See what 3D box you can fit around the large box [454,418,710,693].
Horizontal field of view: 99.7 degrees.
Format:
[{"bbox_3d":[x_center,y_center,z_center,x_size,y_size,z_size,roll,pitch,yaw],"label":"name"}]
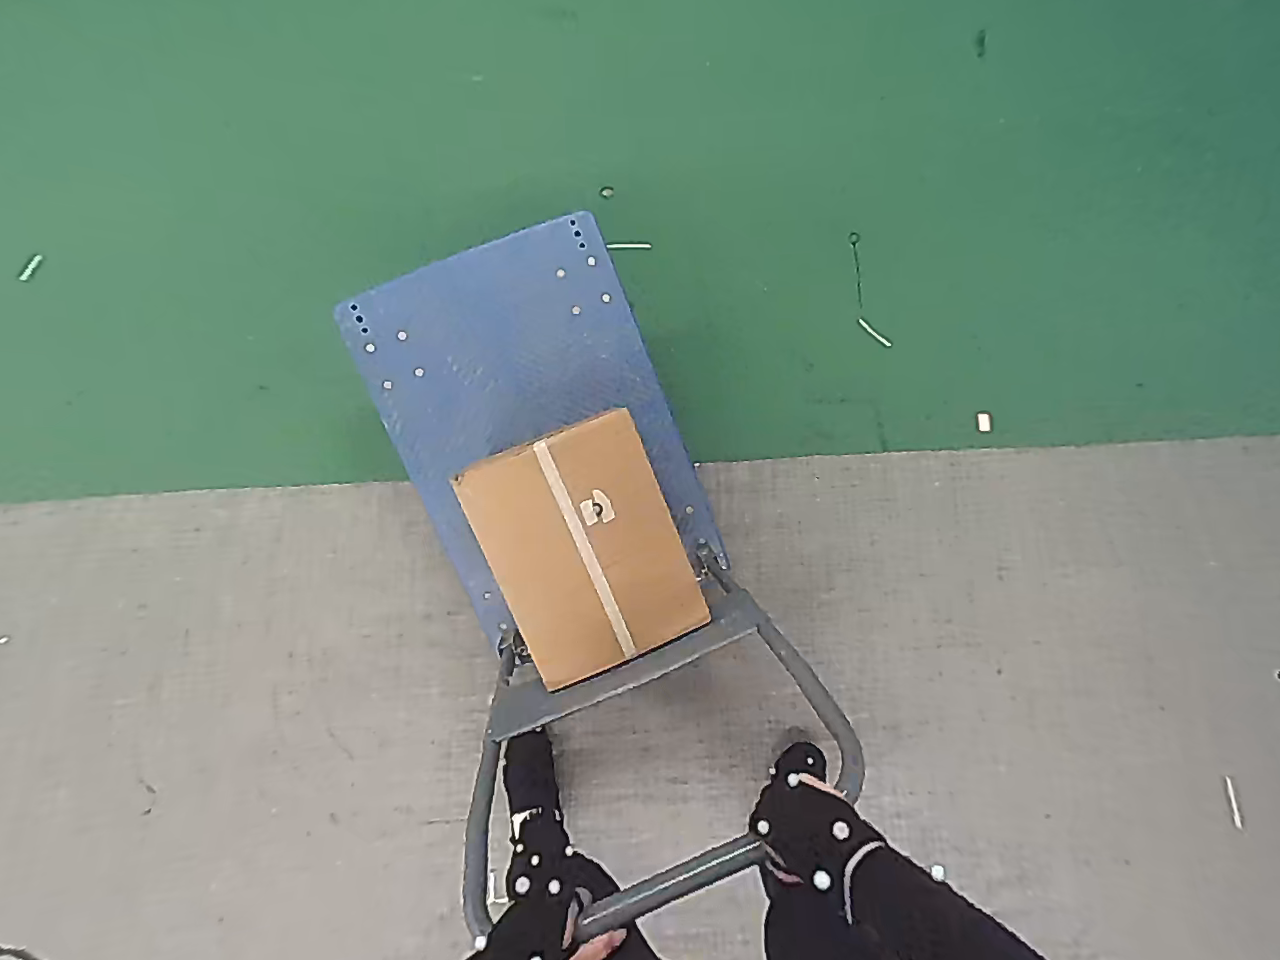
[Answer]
[{"bbox_3d":[-0.103,0.119,1.063,0.320,0.320,0.408,-23,98,-4],"label":"large box"}]
